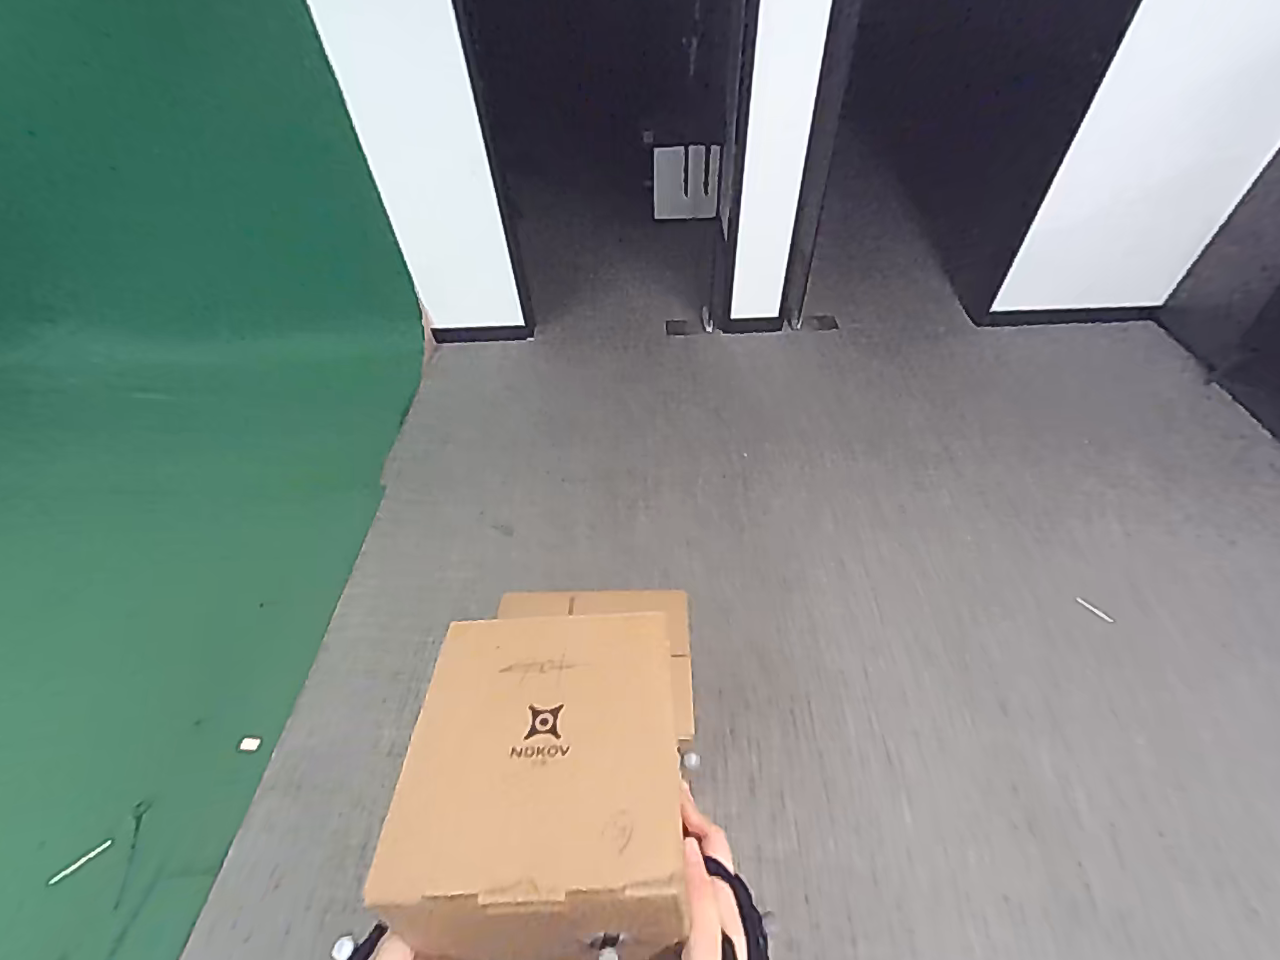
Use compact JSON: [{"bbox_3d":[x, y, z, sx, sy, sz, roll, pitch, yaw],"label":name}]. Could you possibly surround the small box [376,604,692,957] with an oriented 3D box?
[{"bbox_3d":[-0.051,0.214,0.390,0.168,0.176,0.179,-3,36,2],"label":"small box"}]
